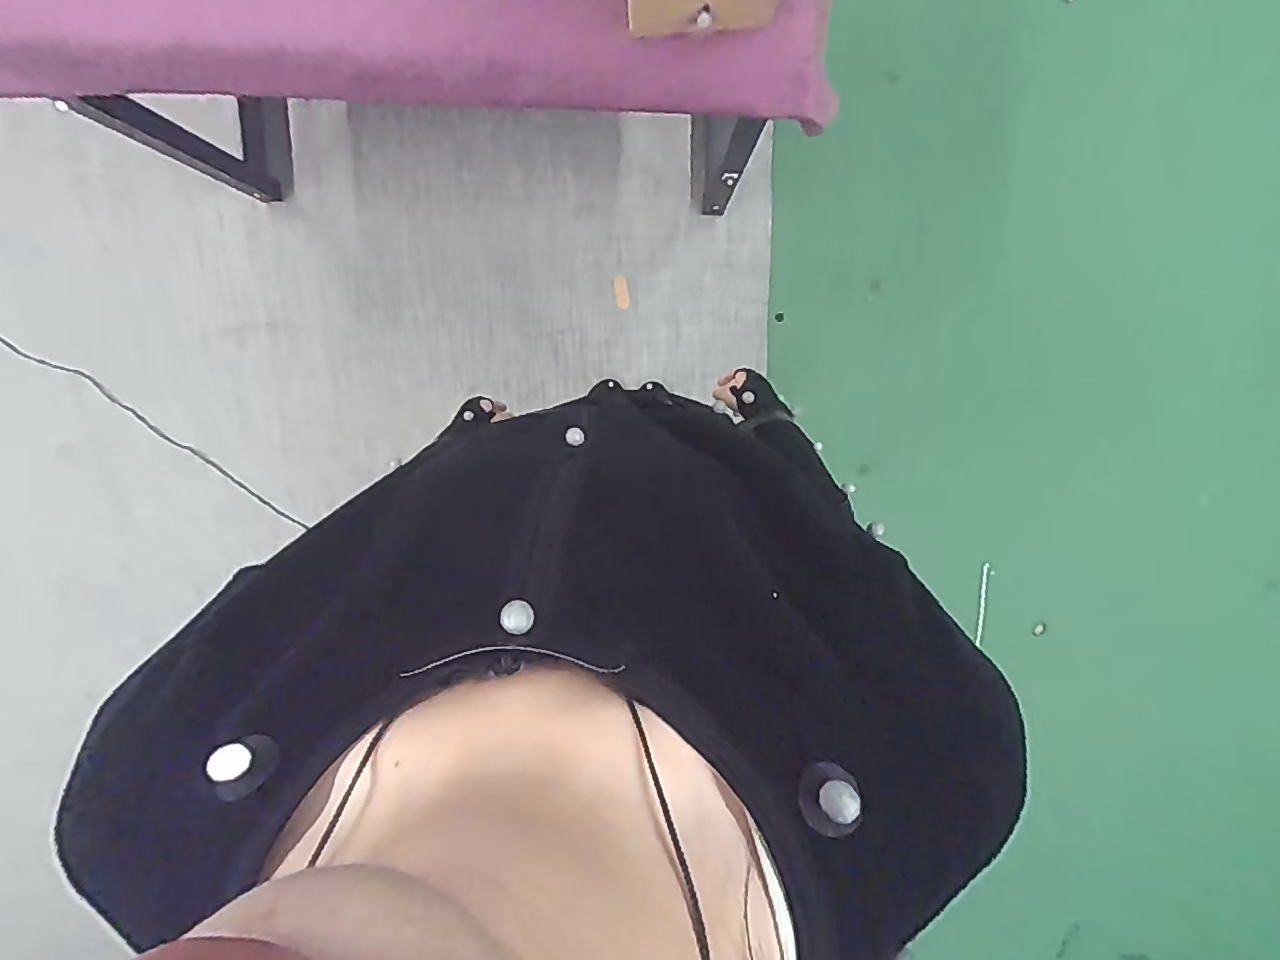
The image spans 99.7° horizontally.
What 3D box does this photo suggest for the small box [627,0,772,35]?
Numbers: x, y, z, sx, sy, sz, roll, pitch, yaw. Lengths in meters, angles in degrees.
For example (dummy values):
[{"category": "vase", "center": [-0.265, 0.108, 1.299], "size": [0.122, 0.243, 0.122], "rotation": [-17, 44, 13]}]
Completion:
[{"category": "small box", "center": [0.070, -0.622, 0.581], "size": [0.179, 0.176, 0.168], "rotation": [-3, 100, 1]}]
